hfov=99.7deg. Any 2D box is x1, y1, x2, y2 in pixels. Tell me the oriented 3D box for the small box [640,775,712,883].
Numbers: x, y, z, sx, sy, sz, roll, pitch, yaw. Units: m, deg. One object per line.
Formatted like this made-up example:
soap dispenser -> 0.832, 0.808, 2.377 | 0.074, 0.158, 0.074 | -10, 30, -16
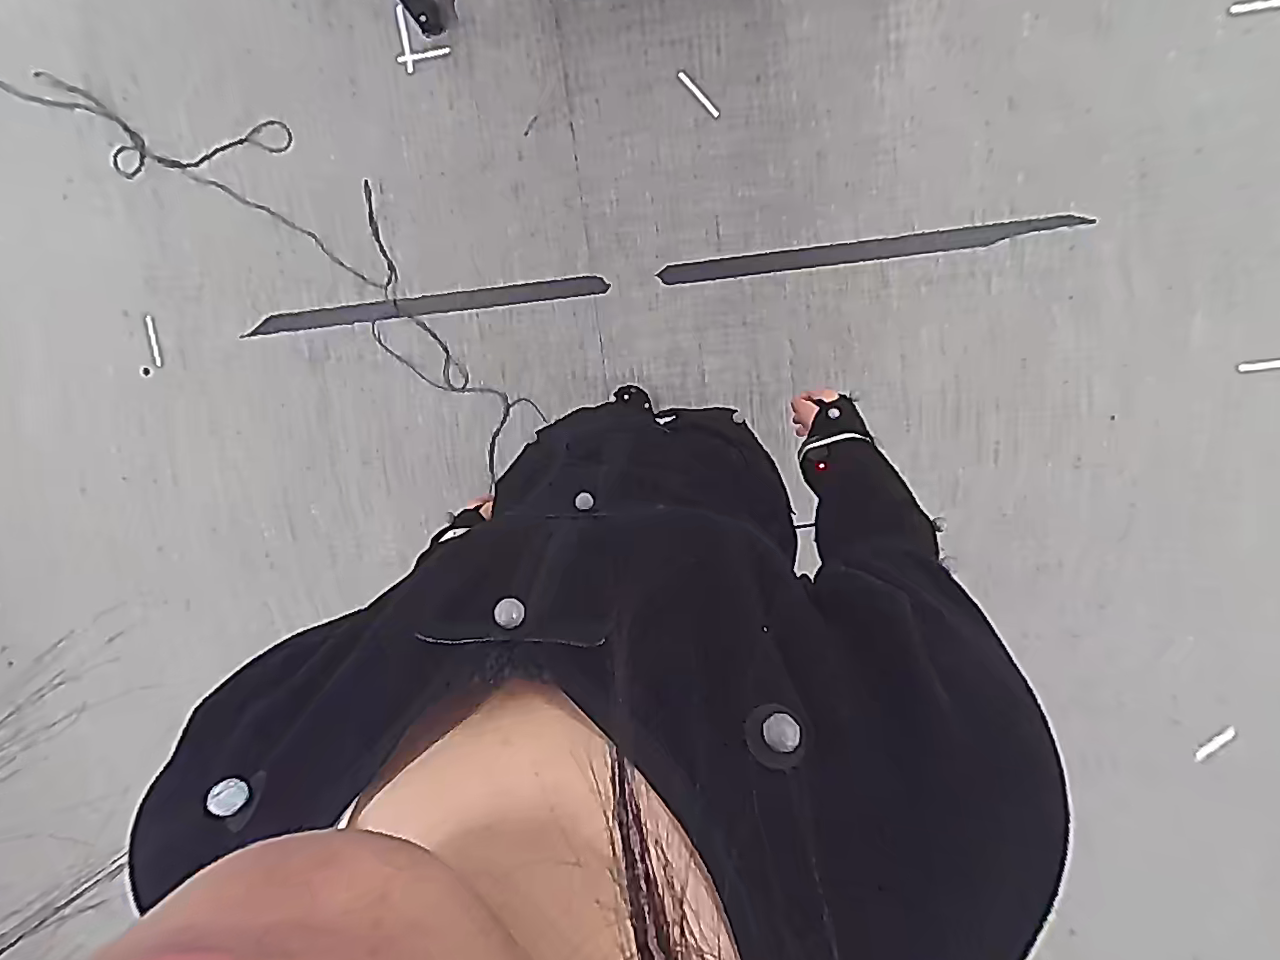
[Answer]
small box -> 0.101, 0.958, 1.493 | 0.168, 0.176, 0.179 | -12, 98, 5
